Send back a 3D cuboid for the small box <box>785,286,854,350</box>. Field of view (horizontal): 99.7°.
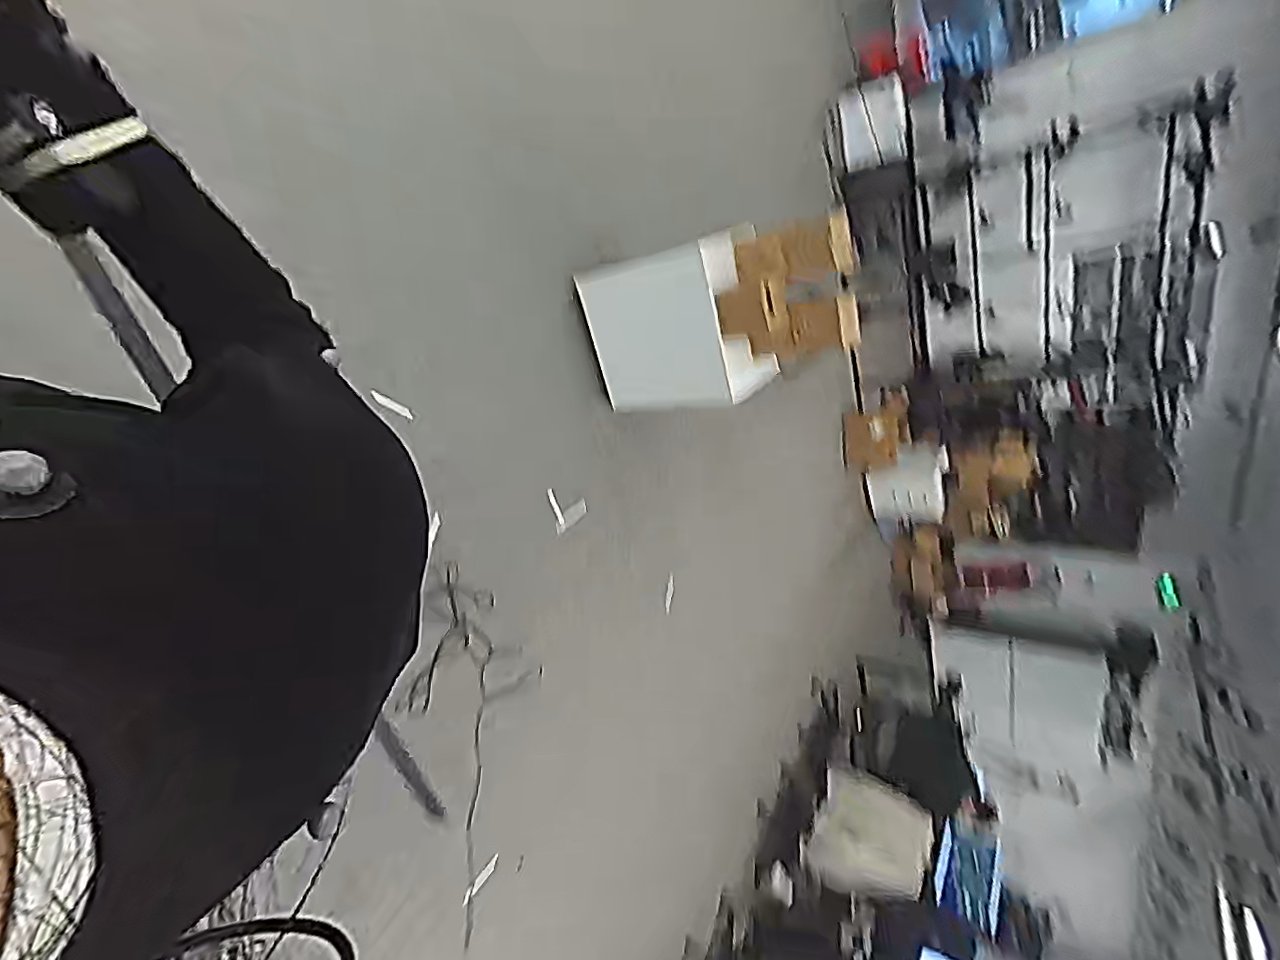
[{"bbox_3d":[0.611,-0.549,1.838,0.179,0.176,0.168,-36,118,-43],"label":"small box"}]

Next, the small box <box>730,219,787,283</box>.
[{"bbox_3d":[0.417,-0.781,1.846,0.179,0.176,0.168,-35,119,-45],"label":"small box"}]

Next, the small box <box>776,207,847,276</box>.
[{"bbox_3d":[0.551,-0.772,1.752,0.179,0.176,0.168,-36,120,-44],"label":"small box"}]
